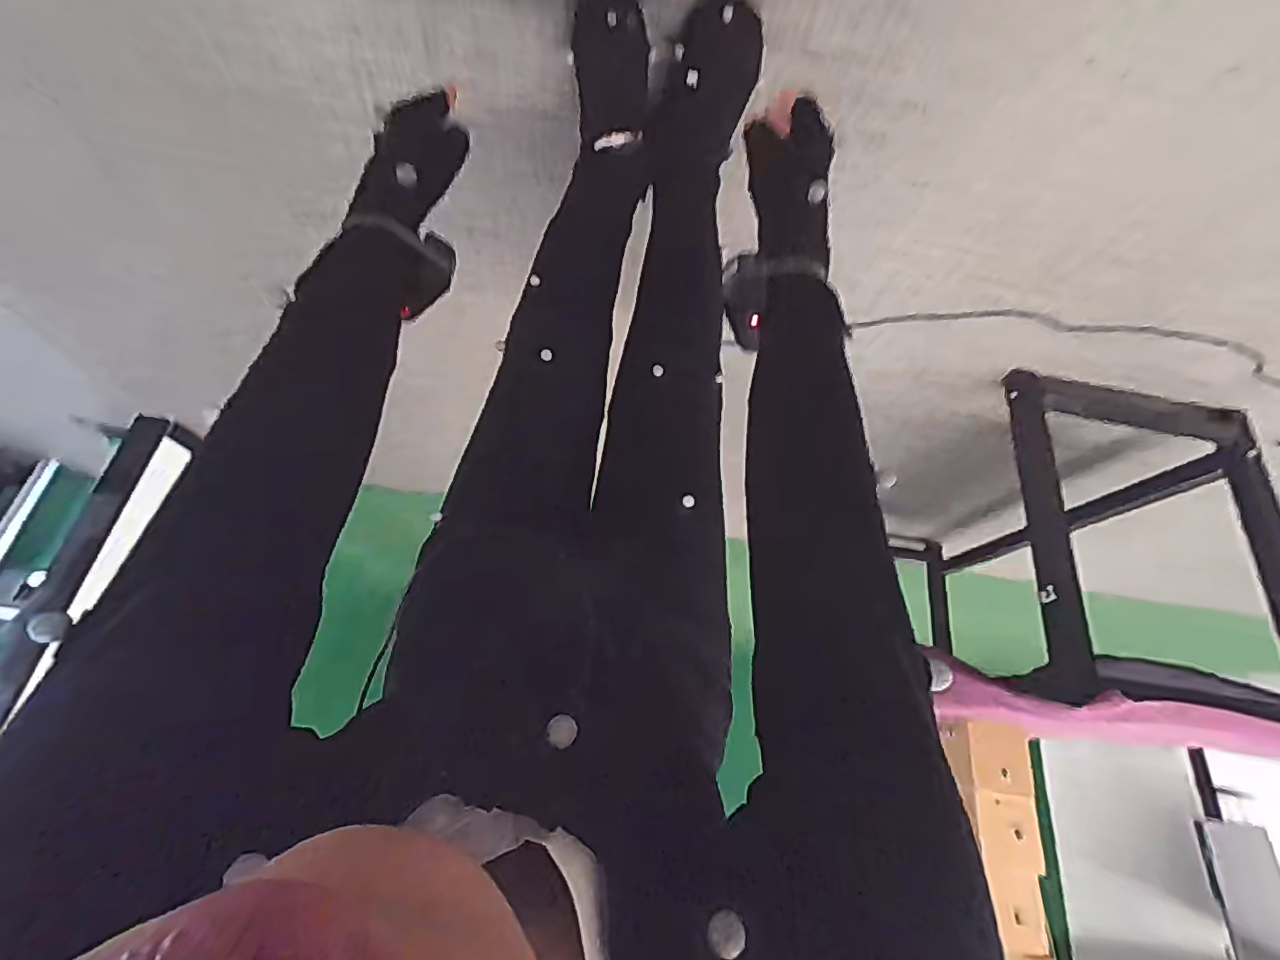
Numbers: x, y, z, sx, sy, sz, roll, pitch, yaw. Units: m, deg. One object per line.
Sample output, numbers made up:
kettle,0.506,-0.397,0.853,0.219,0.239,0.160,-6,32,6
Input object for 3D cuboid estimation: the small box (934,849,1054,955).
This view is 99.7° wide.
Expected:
small box,0.857,1.025,1.325,0.179,0.176,0.168,10,155,-9

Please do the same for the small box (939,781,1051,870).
small box,0.900,0.880,1.393,0.168,0.176,0.179,10,156,-6

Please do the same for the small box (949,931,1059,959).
small box,0.853,1.175,1.257,0.179,0.176,0.168,9,156,-5

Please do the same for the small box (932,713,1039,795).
small box,0.919,0.731,1.452,0.179,0.176,0.168,12,155,-7
